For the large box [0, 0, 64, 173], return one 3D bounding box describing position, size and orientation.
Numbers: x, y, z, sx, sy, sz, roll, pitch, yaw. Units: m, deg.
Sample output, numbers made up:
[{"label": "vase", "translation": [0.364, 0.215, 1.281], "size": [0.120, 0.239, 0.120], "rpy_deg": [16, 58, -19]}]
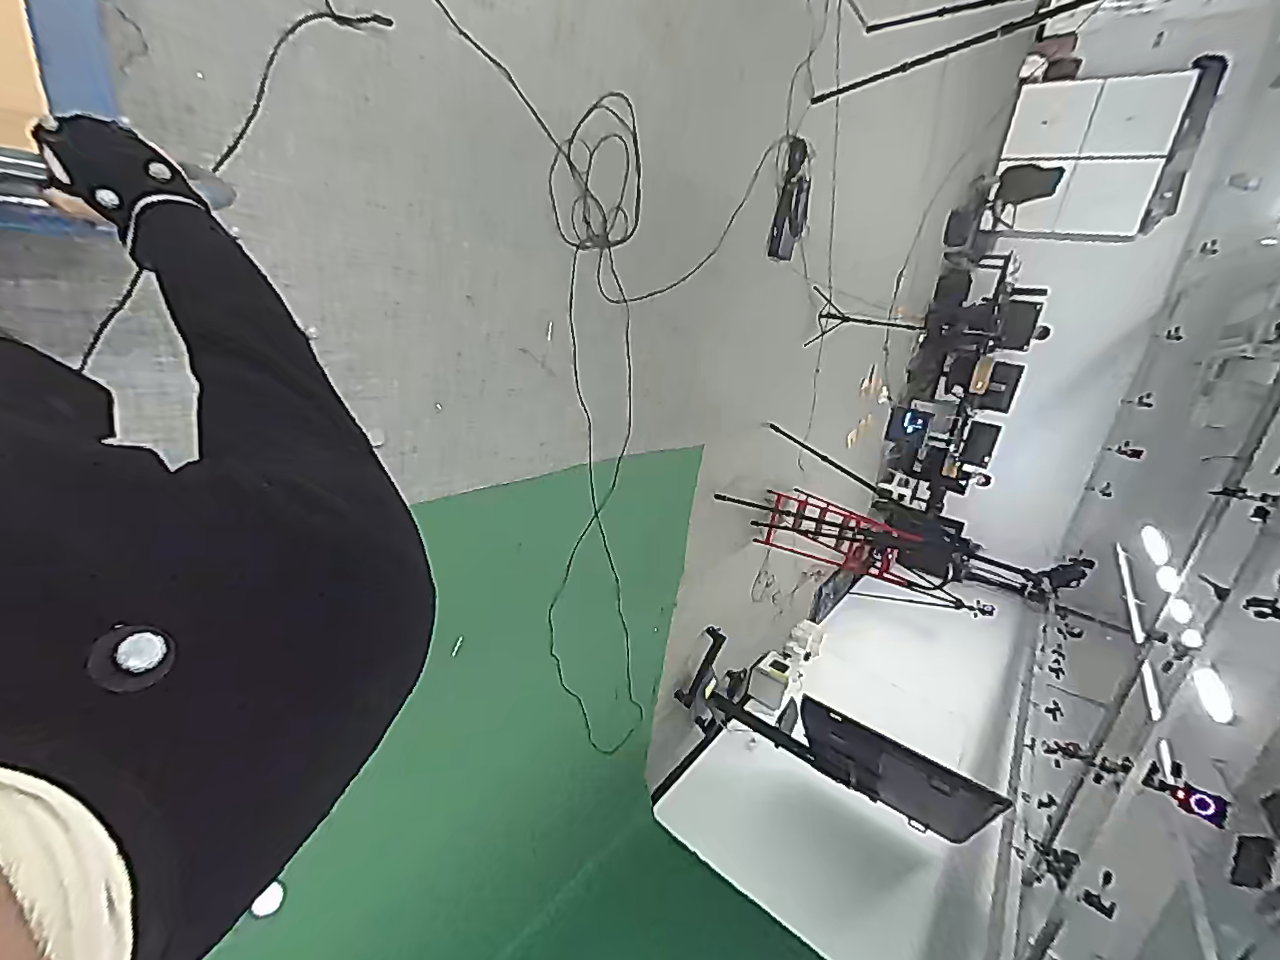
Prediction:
[{"label": "large box", "translation": [-0.988, -0.626, 0.650], "size": [0.320, 0.320, 0.408], "rpy_deg": [-19, 121, -49]}]
